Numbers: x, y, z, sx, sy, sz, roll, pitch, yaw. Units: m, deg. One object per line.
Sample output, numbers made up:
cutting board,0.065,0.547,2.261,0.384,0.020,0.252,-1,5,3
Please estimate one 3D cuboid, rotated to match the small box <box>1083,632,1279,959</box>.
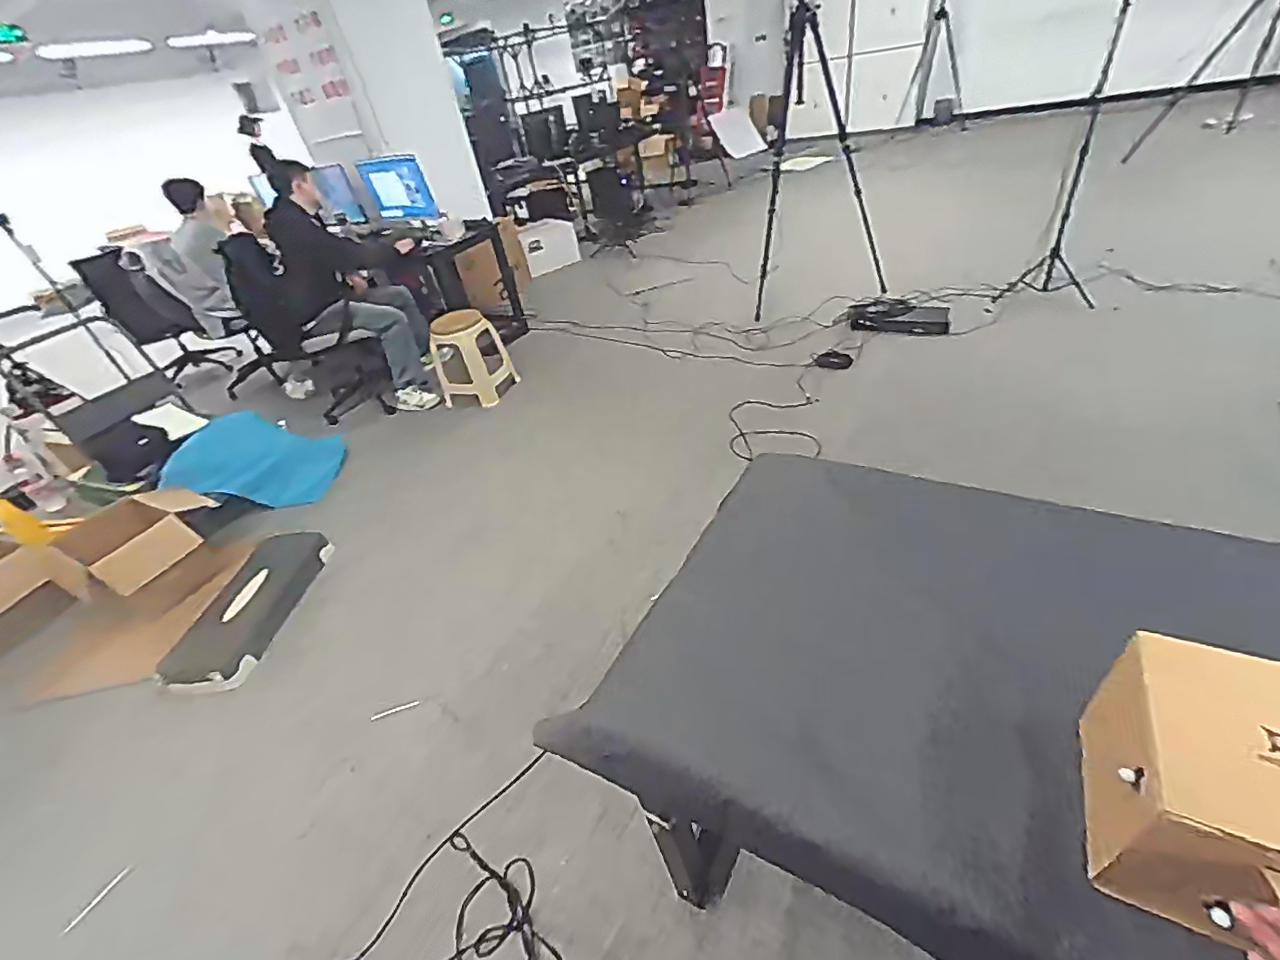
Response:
small box,0.505,0.267,0.456,0.168,0.176,0.179,11,43,27
